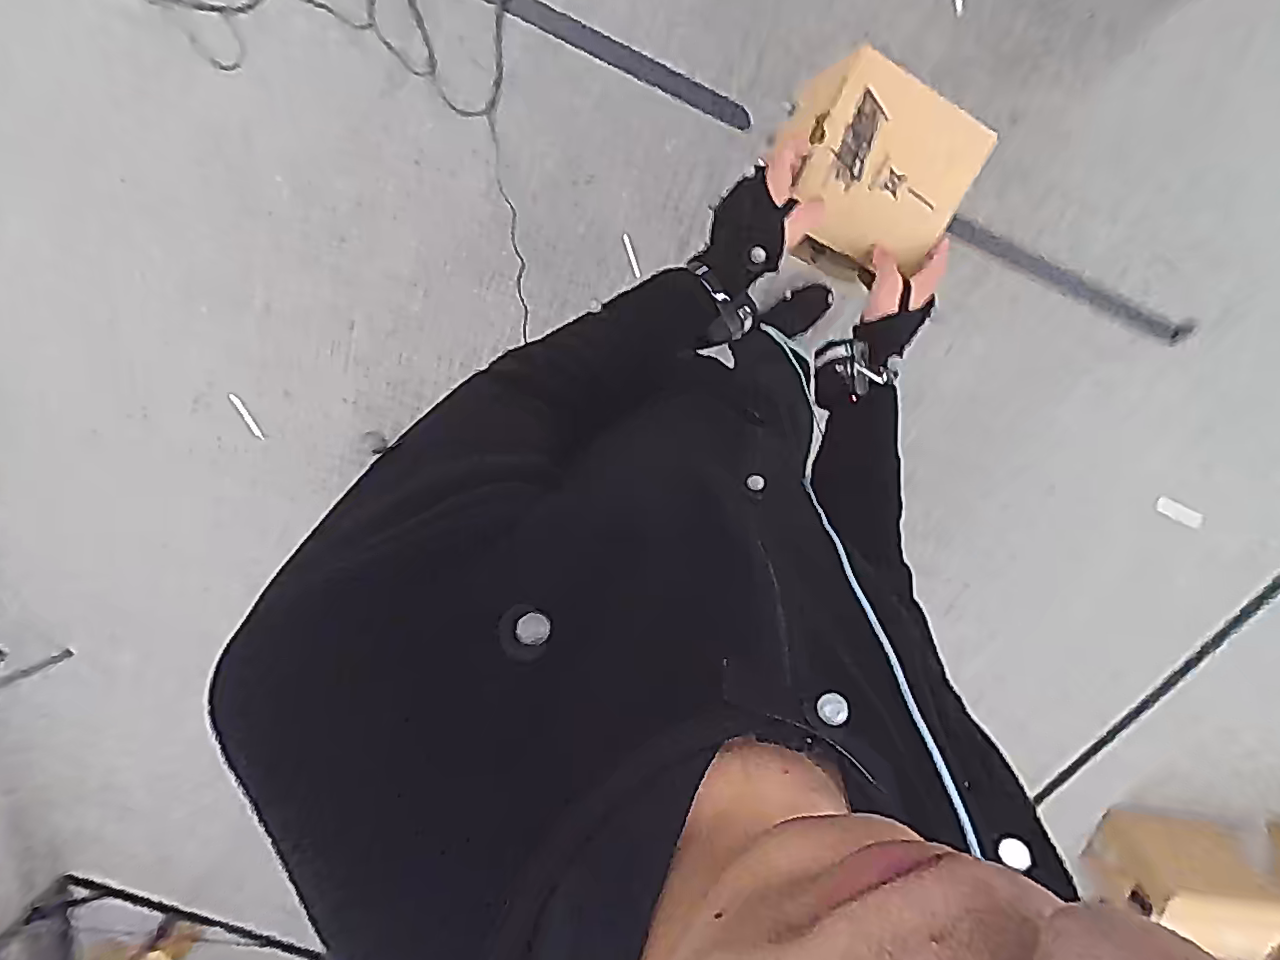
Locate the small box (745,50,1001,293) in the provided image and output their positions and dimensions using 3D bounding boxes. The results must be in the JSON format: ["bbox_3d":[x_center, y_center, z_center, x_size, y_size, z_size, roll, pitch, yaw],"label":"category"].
[{"bbox_3d":[0.246,-0.334,0.622,0.179,0.176,0.168,22,109,-15],"label":"small box"}]
